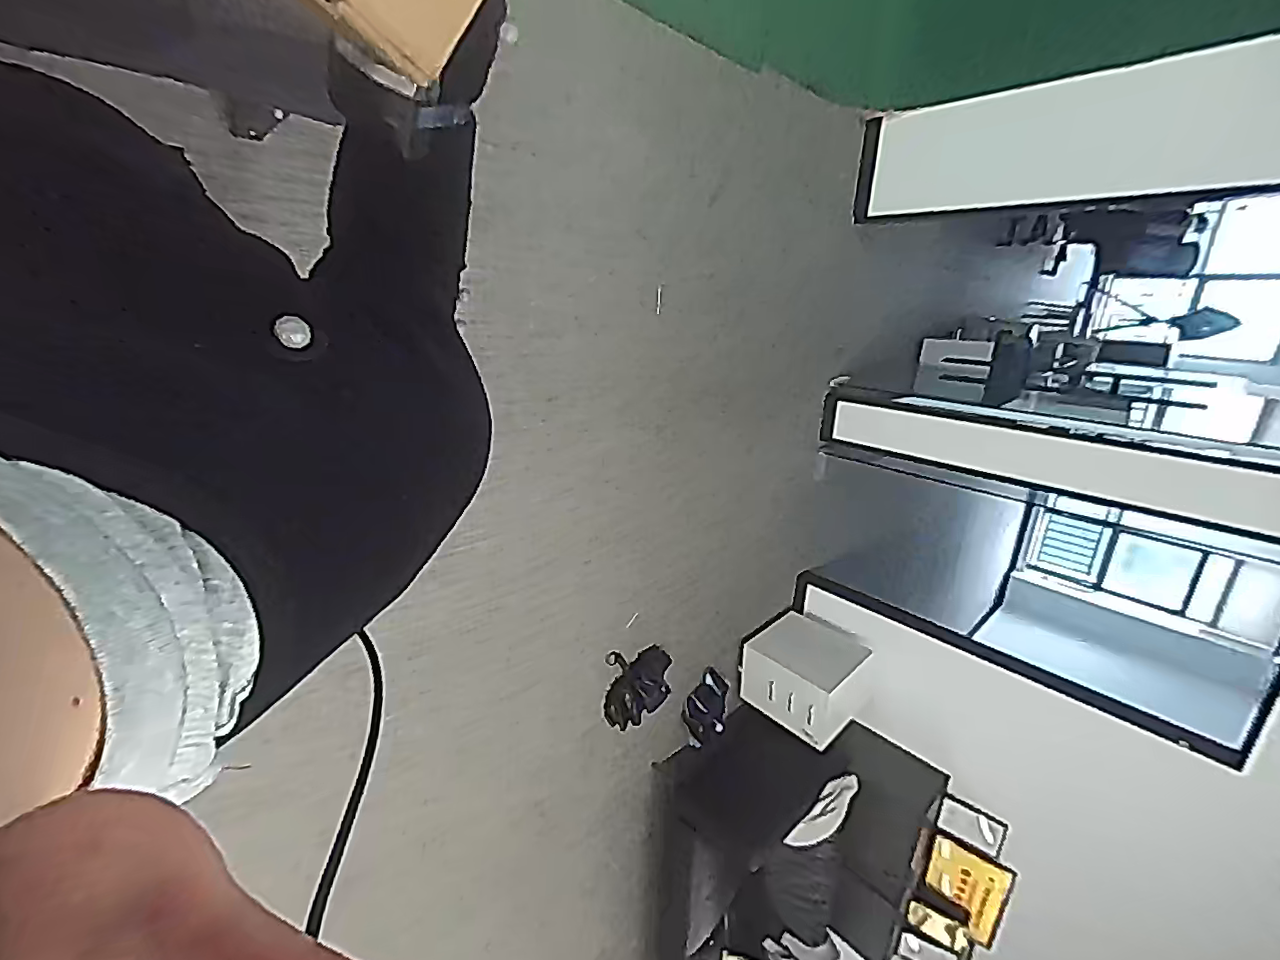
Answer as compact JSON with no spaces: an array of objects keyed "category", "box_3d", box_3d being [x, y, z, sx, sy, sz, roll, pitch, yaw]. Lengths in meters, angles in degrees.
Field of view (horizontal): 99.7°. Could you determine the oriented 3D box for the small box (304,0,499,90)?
[{"category":"small box","box_3d":[-0.105,-0.249,0.121,0.179,0.176,0.168,-53,155,13]}]
